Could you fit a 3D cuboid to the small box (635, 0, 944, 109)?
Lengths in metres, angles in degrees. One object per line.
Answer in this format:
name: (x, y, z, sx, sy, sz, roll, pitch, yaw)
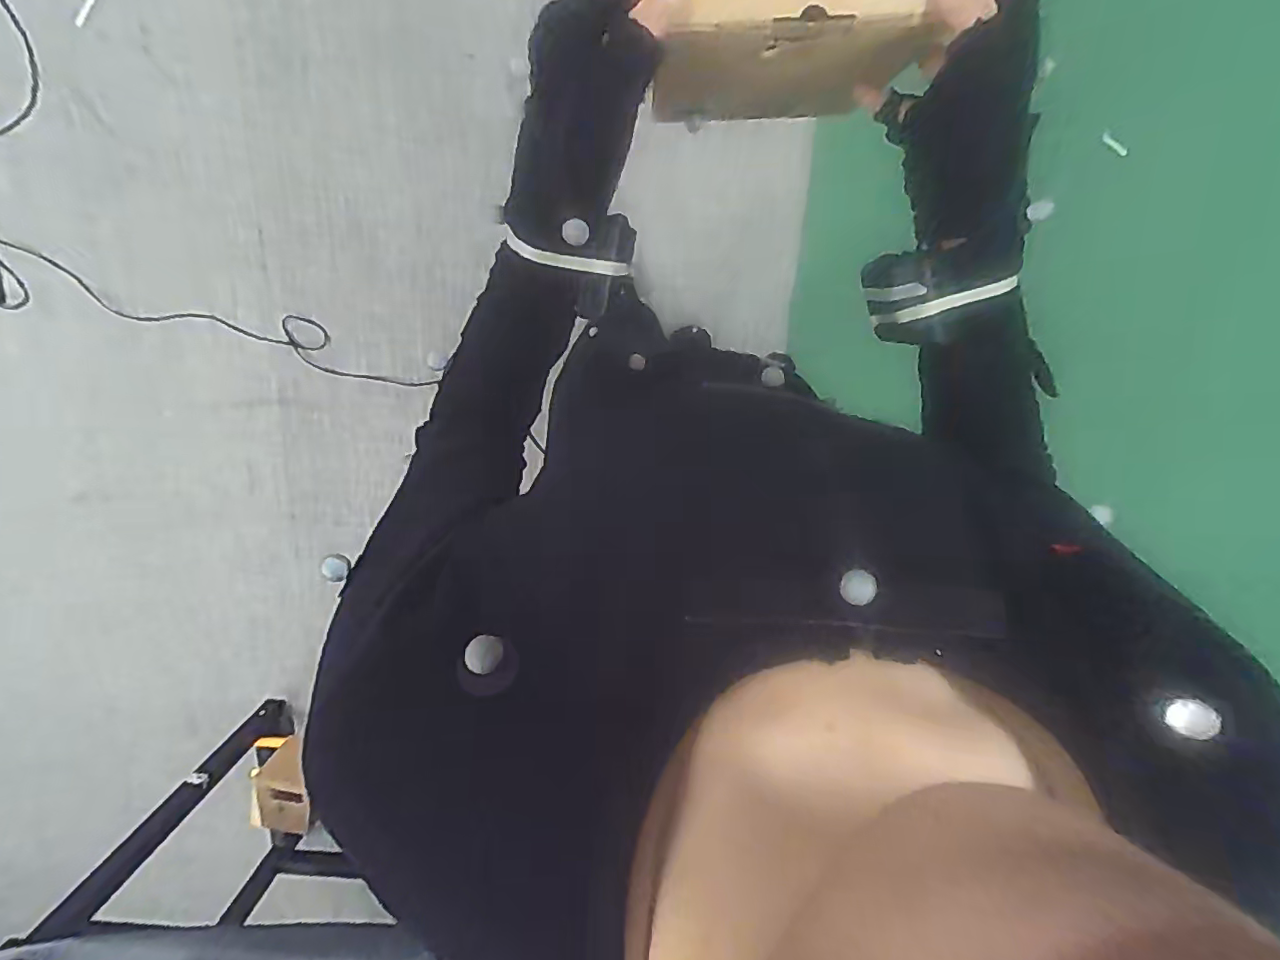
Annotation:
small box: (0.080, -0.352, 0.335, 0.168, 0.176, 0.179, -1, 108, 1)
